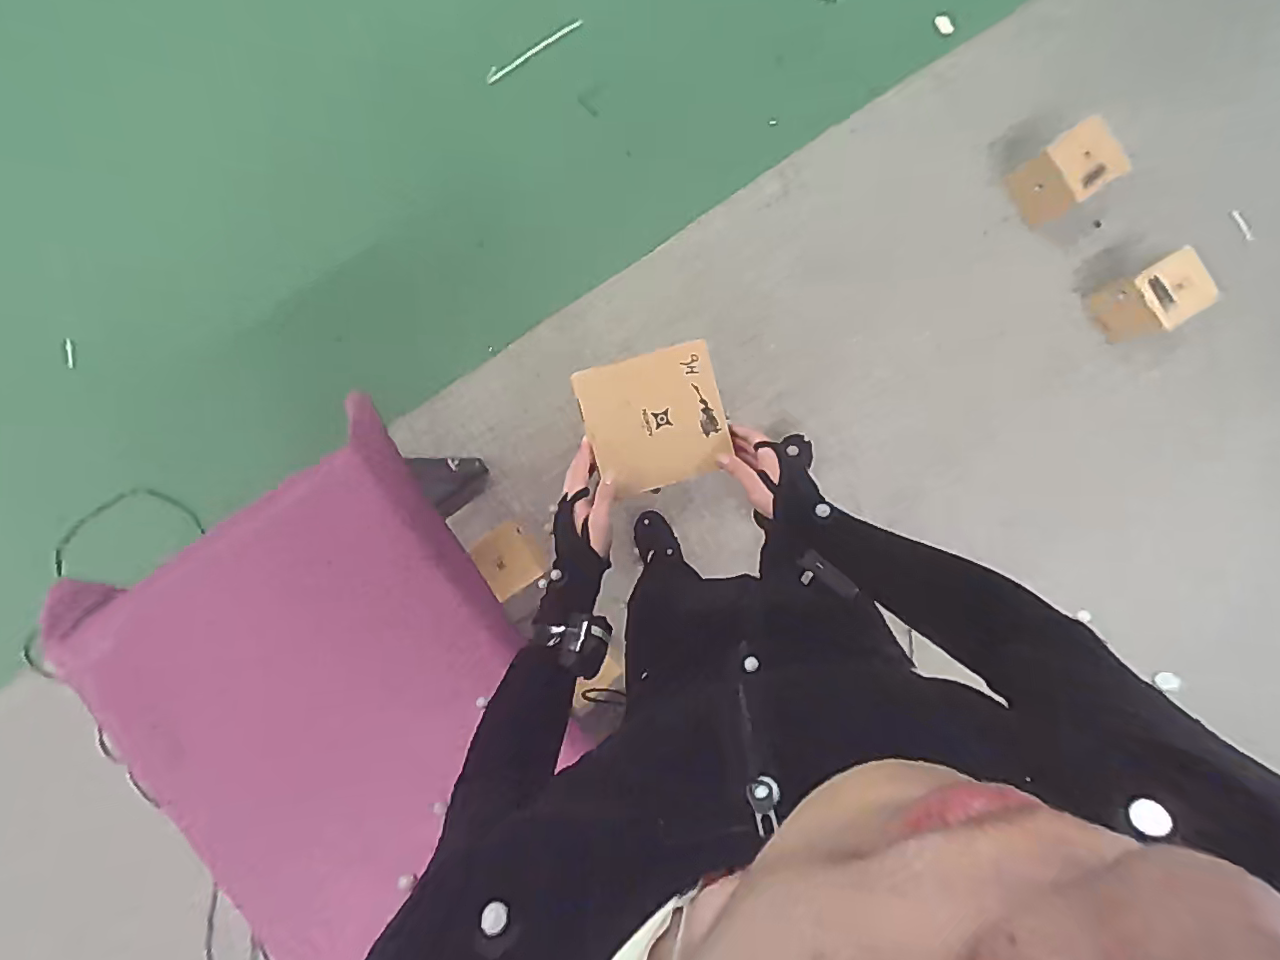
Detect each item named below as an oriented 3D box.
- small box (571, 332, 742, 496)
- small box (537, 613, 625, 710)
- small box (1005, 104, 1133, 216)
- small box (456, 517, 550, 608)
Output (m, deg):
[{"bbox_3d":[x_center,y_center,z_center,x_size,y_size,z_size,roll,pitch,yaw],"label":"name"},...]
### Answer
[{"bbox_3d":[0.017,-0.082,0.727,0.179,0.176,0.168,-16,94,-3],"label":"small box"},{"bbox_3d":[-0.159,0.493,1.508,0.168,0.176,0.179,-41,92,2],"label":"small box"},{"bbox_3d":[1.146,-0.846,1.458,0.168,0.176,0.179,-34,91,1],"label":"small box"},{"bbox_3d":[-0.369,0.219,1.497,0.168,0.176,0.179,-34,91,2],"label":"small box"}]
